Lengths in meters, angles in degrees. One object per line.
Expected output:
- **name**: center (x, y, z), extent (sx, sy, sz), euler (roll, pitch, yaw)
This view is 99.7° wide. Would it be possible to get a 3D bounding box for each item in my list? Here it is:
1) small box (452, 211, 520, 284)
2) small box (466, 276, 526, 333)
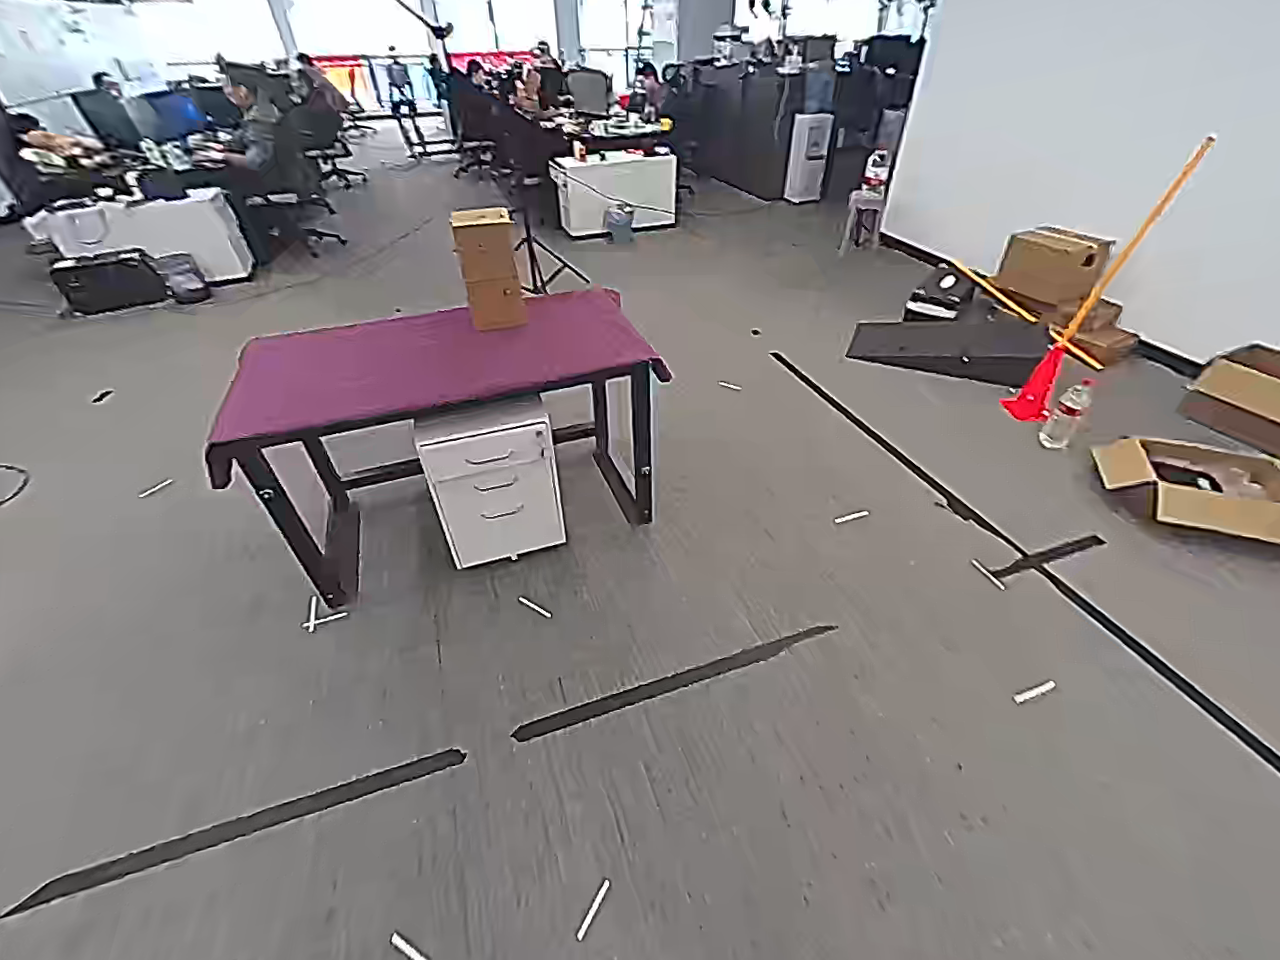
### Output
- **small box**: center (-0.492, -0.741, 1.729), extent (0.179, 0.176, 0.168), euler (-11, 42, -10)
- **small box**: center (-0.487, -0.616, 1.835), extent (0.179, 0.176, 0.168), euler (-12, 42, -11)
